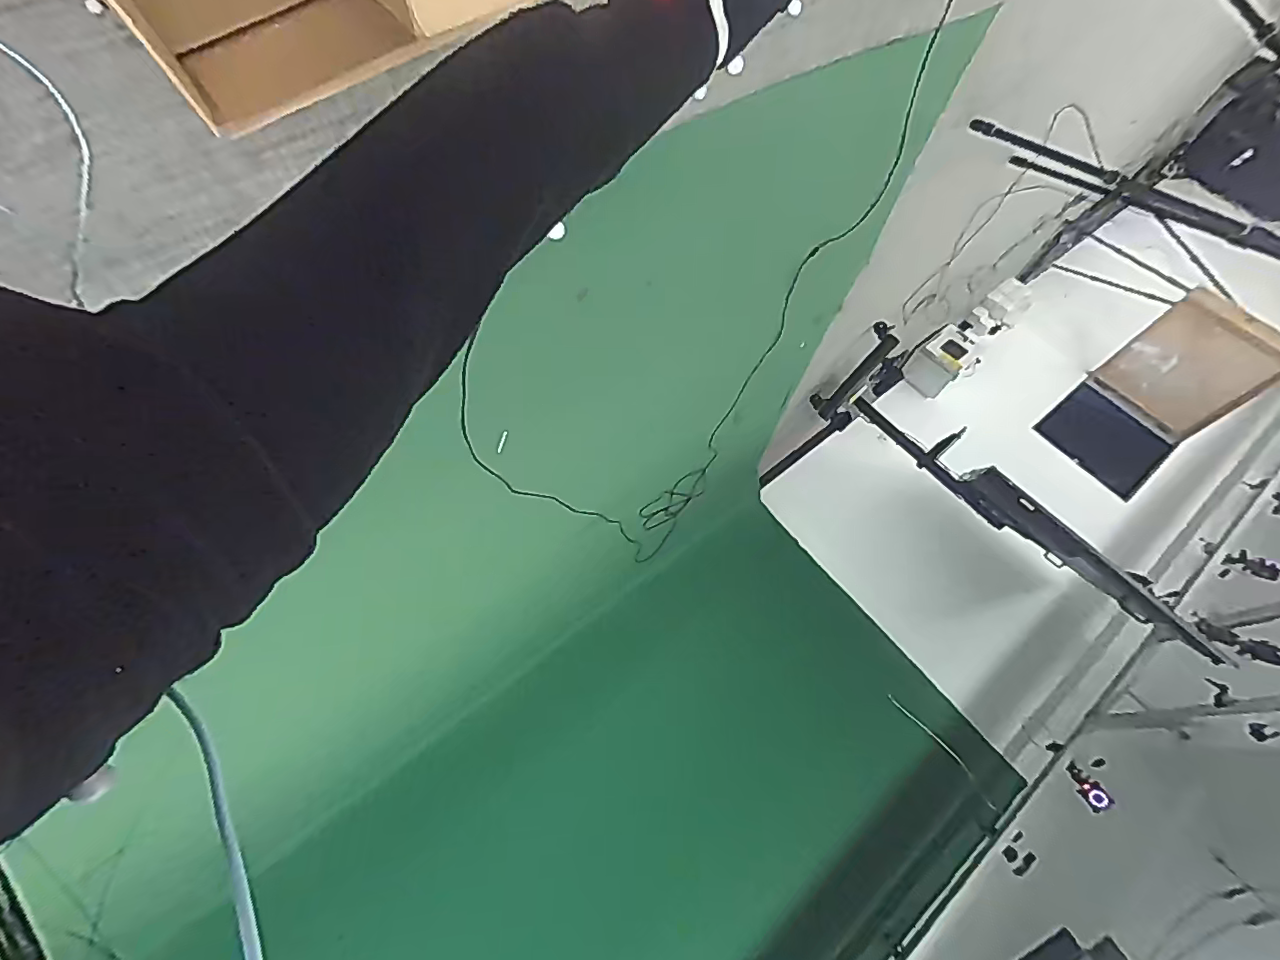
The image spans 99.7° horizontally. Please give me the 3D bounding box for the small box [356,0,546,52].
[{"bbox_3d":[-0.150,-0.447,0.365,0.179,0.176,0.168,-35,159,-14],"label":"small box"}]
